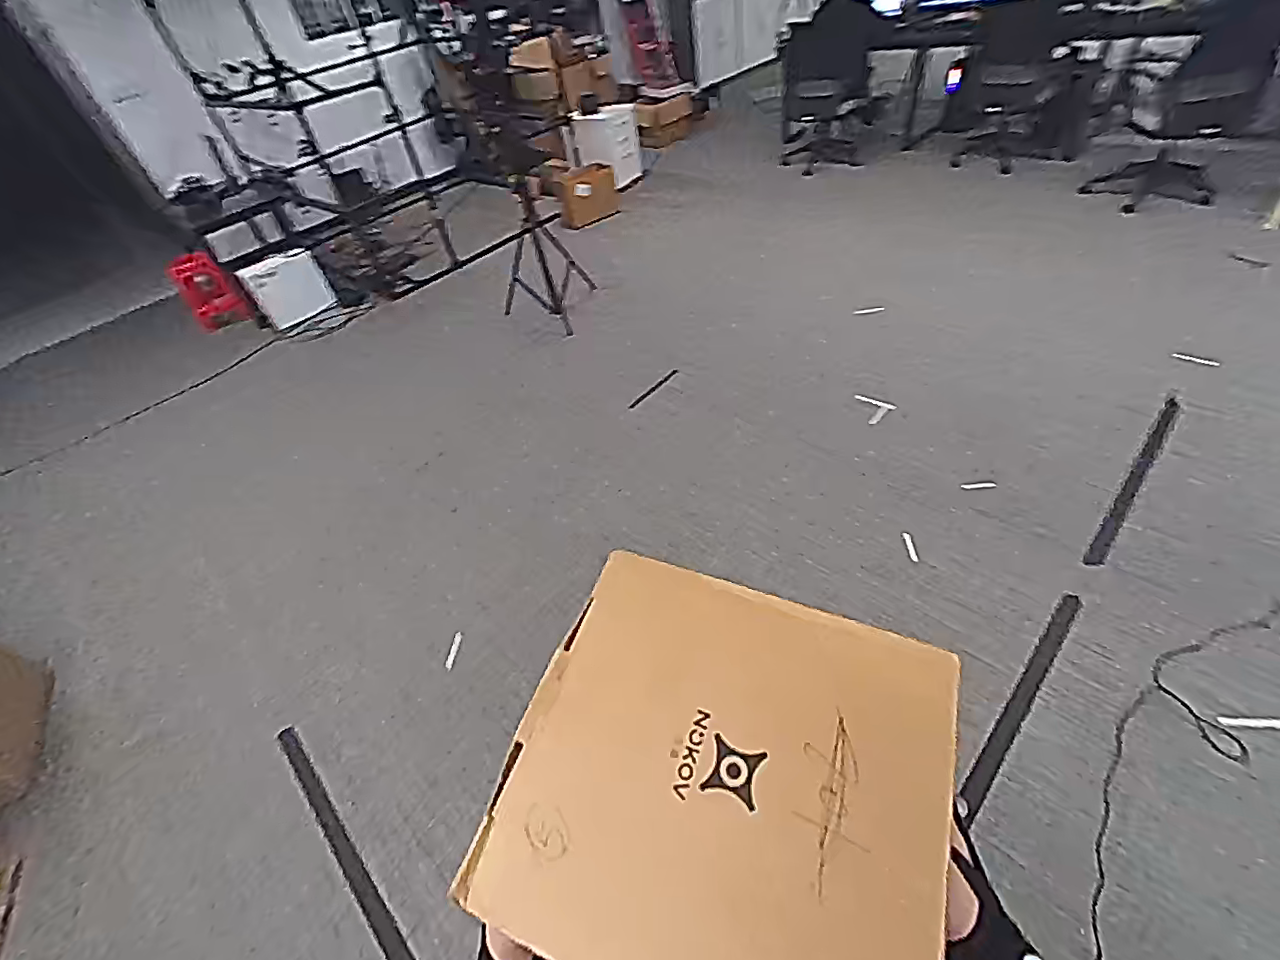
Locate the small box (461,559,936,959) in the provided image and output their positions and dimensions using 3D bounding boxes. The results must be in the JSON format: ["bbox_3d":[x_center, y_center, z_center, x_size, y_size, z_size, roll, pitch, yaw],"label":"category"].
[{"bbox_3d":[0.039,0.174,0.304,0.179,0.176,0.168,15,56,15],"label":"small box"}]
